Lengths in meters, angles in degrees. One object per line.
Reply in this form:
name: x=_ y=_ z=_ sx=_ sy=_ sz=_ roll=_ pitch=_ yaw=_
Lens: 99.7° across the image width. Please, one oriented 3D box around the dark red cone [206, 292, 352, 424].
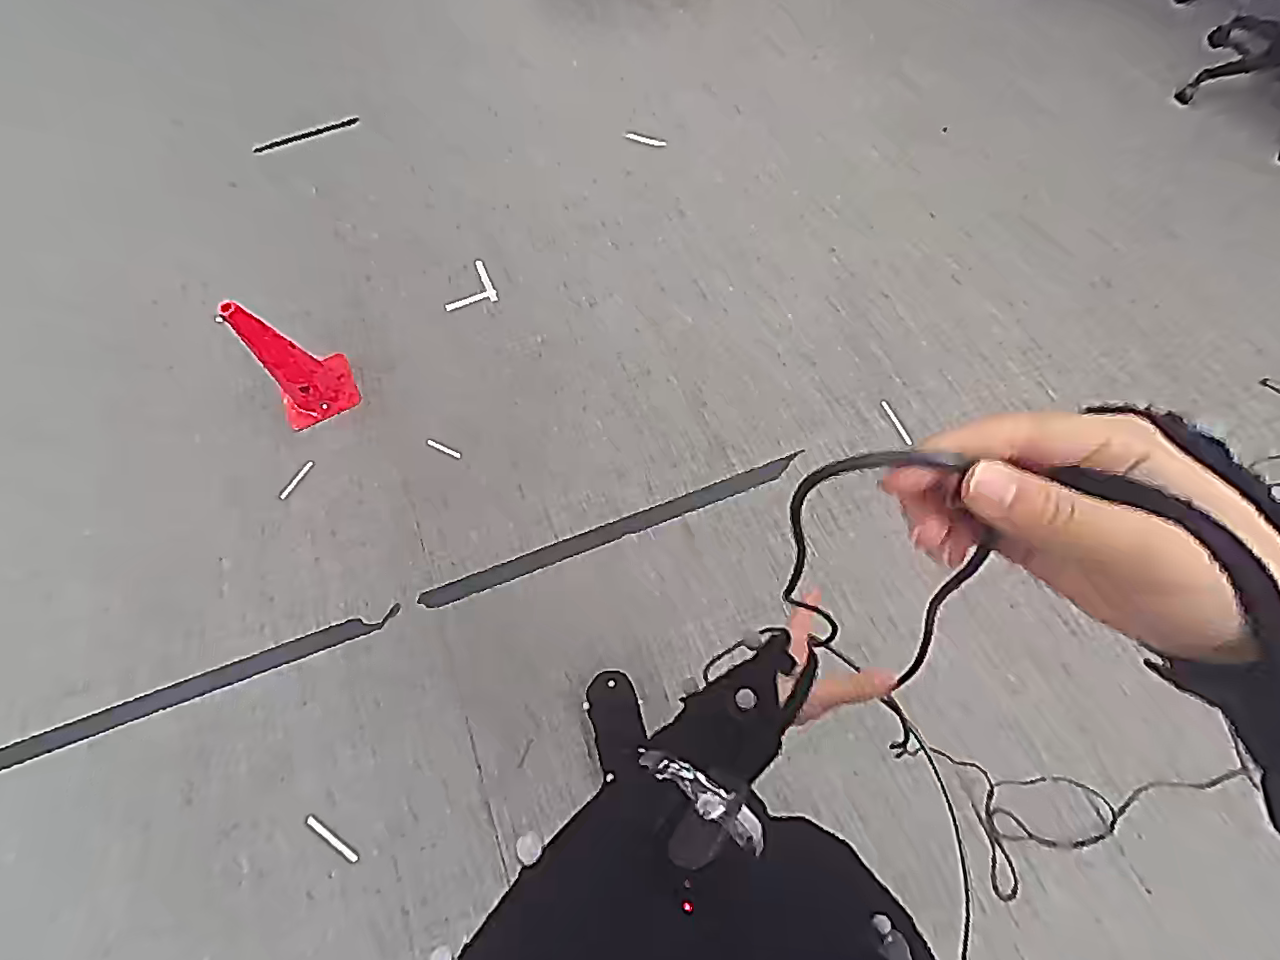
dark red cone: x=-0.931 y=-0.325 z=1.365 sx=0.202 sy=0.394 sz=0.201 roll=-28 pitch=70 yaw=-9
